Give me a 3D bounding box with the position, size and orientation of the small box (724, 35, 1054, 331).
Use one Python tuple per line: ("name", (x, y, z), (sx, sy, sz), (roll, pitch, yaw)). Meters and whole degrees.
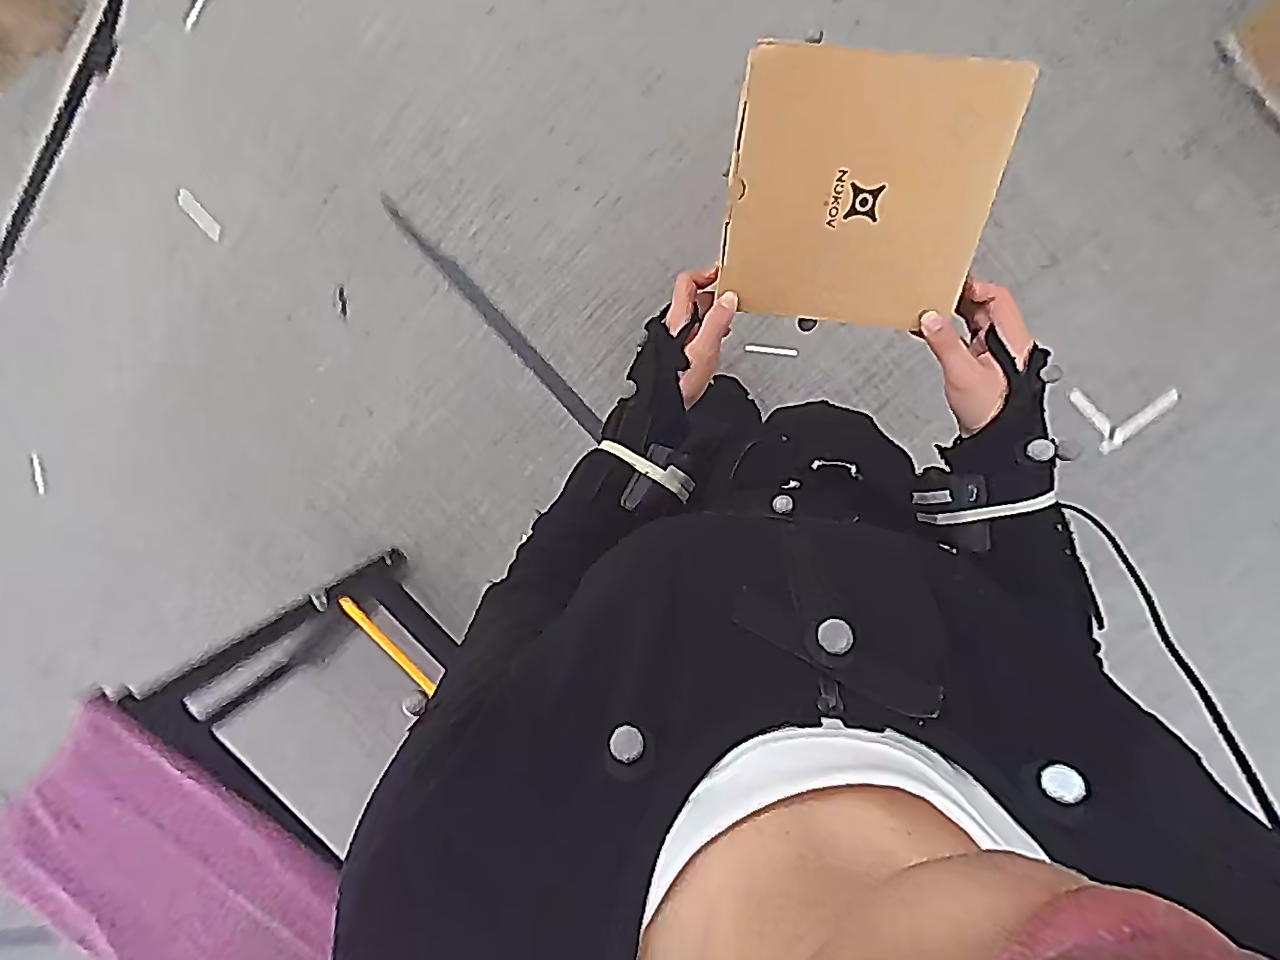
("small box", (0.170, -0.234, 0.441), (0.179, 0.176, 0.168), (10, 120, 5))
